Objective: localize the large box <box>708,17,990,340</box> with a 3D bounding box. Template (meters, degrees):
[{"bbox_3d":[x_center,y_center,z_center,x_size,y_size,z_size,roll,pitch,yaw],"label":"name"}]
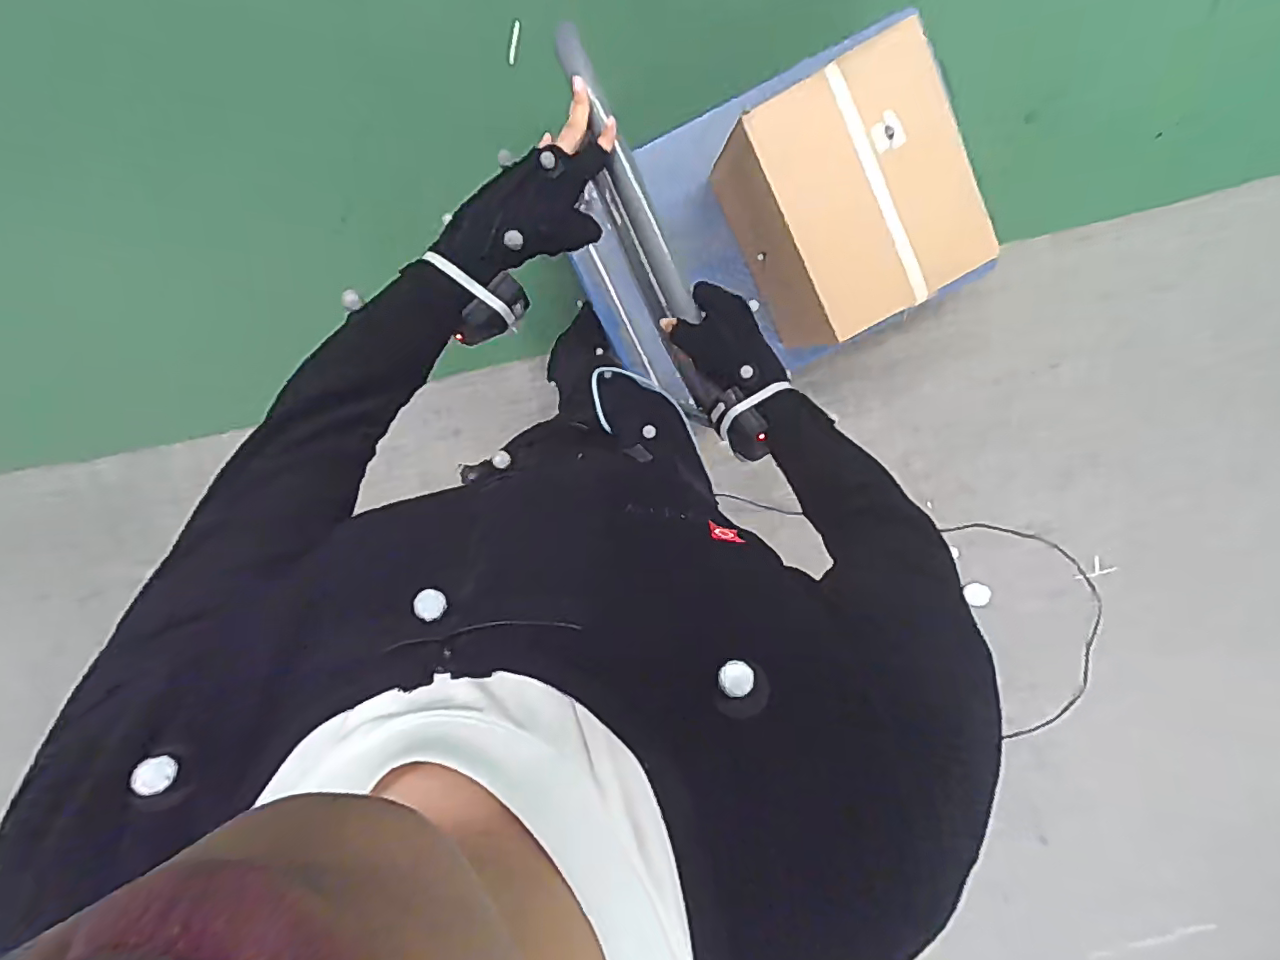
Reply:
[{"bbox_3d":[0.375,-0.527,1.049,0.320,0.320,0.408,-29,102,3],"label":"large box"}]
